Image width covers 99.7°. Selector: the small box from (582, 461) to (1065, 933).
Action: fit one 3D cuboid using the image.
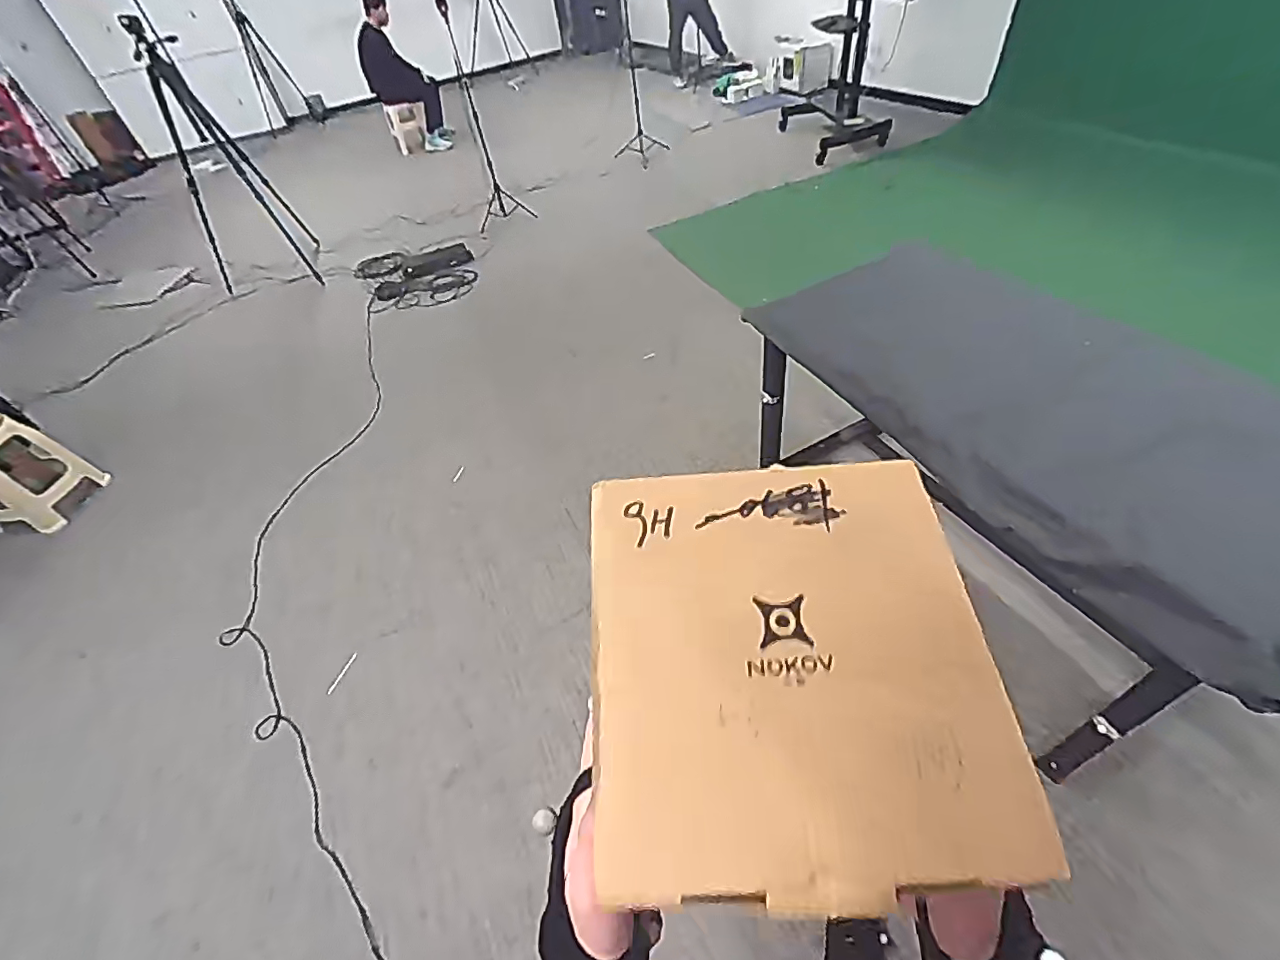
[{"bbox_3d":[0.061,0.109,0.291,0.168,0.176,0.179,-3,61,0],"label":"small box"}]
